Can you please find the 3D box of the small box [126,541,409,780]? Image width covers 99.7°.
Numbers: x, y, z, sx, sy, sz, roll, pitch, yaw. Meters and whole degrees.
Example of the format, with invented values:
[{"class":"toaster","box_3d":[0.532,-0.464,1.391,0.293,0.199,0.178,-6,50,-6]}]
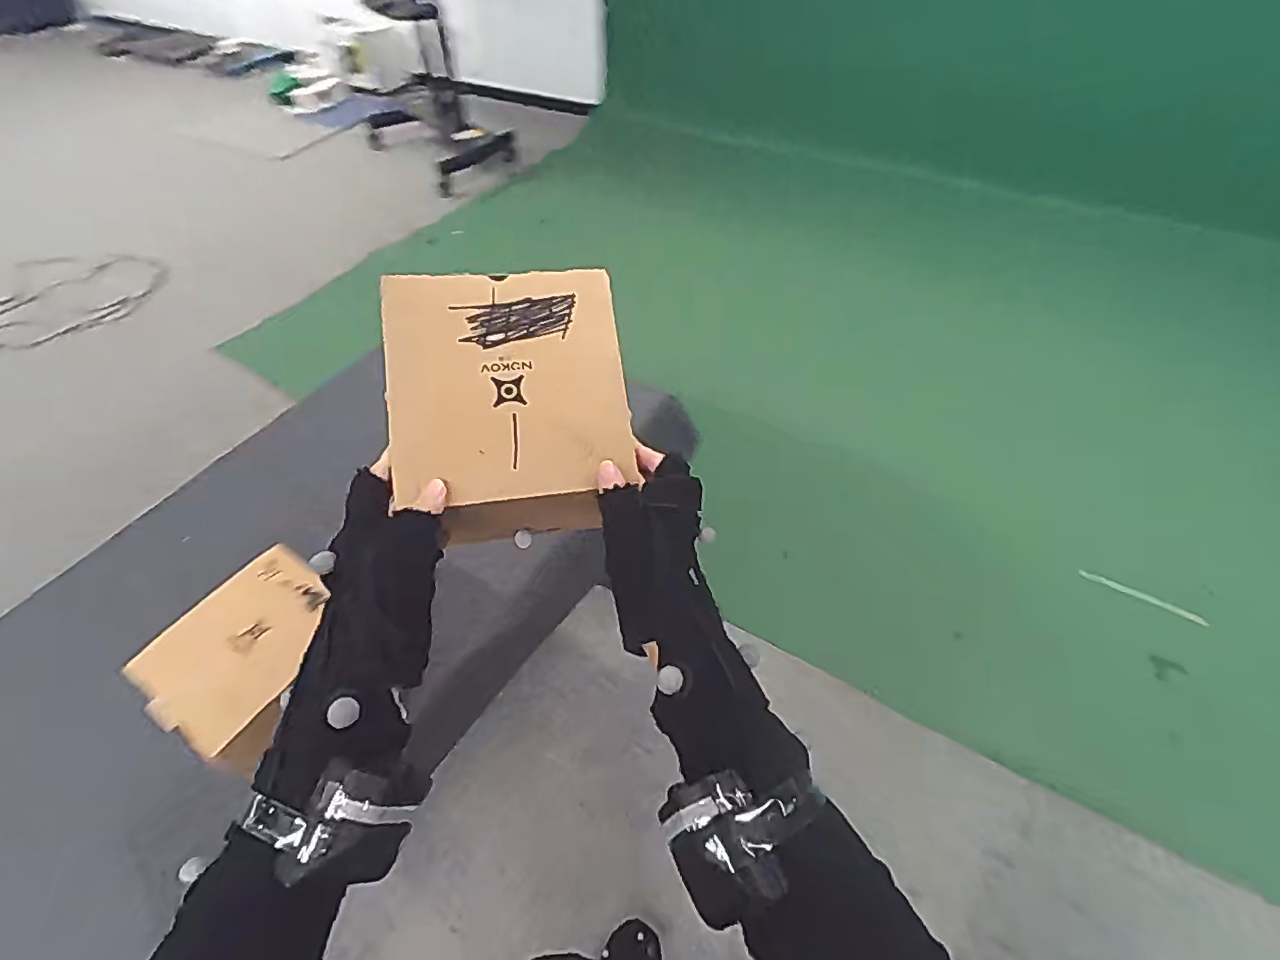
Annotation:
[{"class":"small box","box_3d":[-0.407,0.211,0.624,0.168,0.176,0.179,25,57,21]}]
